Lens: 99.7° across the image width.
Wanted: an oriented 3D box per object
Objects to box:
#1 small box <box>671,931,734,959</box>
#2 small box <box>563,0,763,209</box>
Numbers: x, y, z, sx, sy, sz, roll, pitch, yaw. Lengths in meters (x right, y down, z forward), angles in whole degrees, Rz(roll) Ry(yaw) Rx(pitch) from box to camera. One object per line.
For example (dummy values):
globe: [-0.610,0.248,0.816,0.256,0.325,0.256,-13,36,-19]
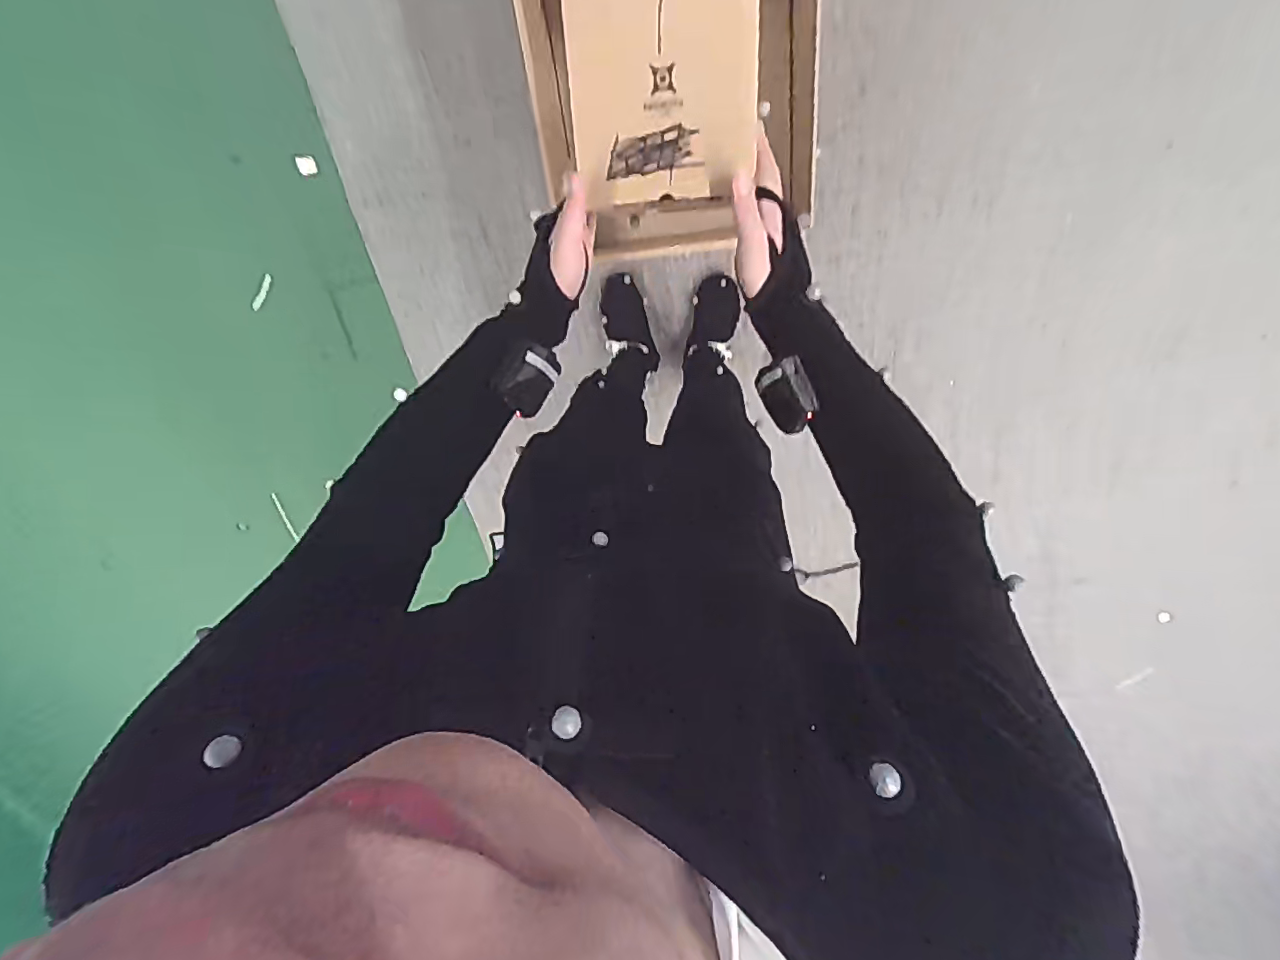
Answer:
small box: [0.184,1.438,1.555,0.168,0.176,0.179,-10,118,10]
small box: [0.031,-0.370,0.534,0.168,0.176,0.179,0,113,8]
